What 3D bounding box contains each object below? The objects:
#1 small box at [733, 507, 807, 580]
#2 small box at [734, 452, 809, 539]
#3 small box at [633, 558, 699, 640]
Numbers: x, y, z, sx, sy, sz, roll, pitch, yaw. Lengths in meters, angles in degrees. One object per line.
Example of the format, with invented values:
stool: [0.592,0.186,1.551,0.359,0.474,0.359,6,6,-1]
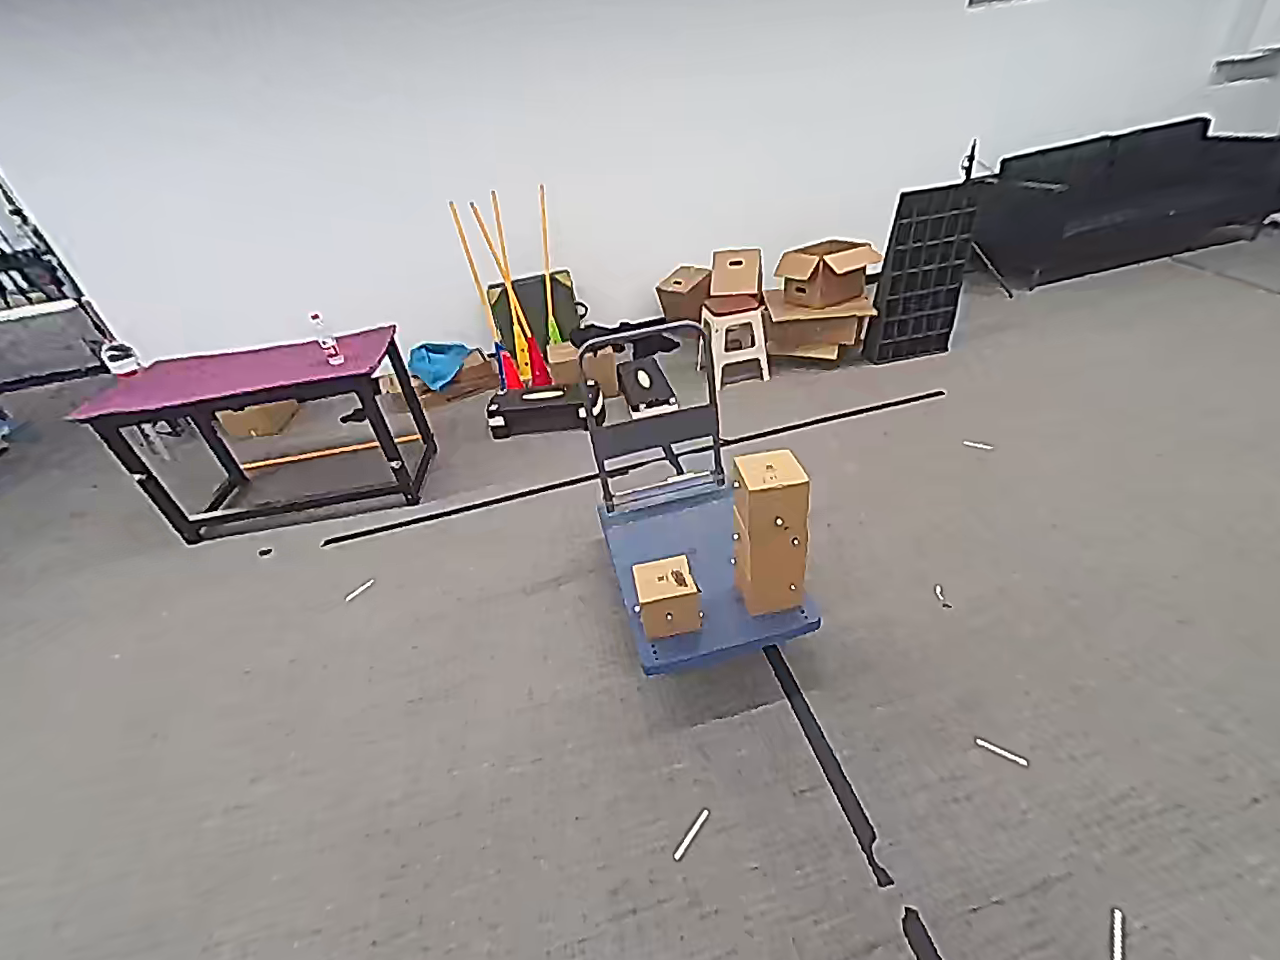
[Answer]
small box: [0.385,0.180,1.615,0.179,0.176,0.168,-9,34,-3]
small box: [0.364,0.043,1.525,0.168,0.176,0.179,-9,34,-1]
small box: [0.084,0.373,1.689,0.179,0.176,0.168,-12,34,-2]
